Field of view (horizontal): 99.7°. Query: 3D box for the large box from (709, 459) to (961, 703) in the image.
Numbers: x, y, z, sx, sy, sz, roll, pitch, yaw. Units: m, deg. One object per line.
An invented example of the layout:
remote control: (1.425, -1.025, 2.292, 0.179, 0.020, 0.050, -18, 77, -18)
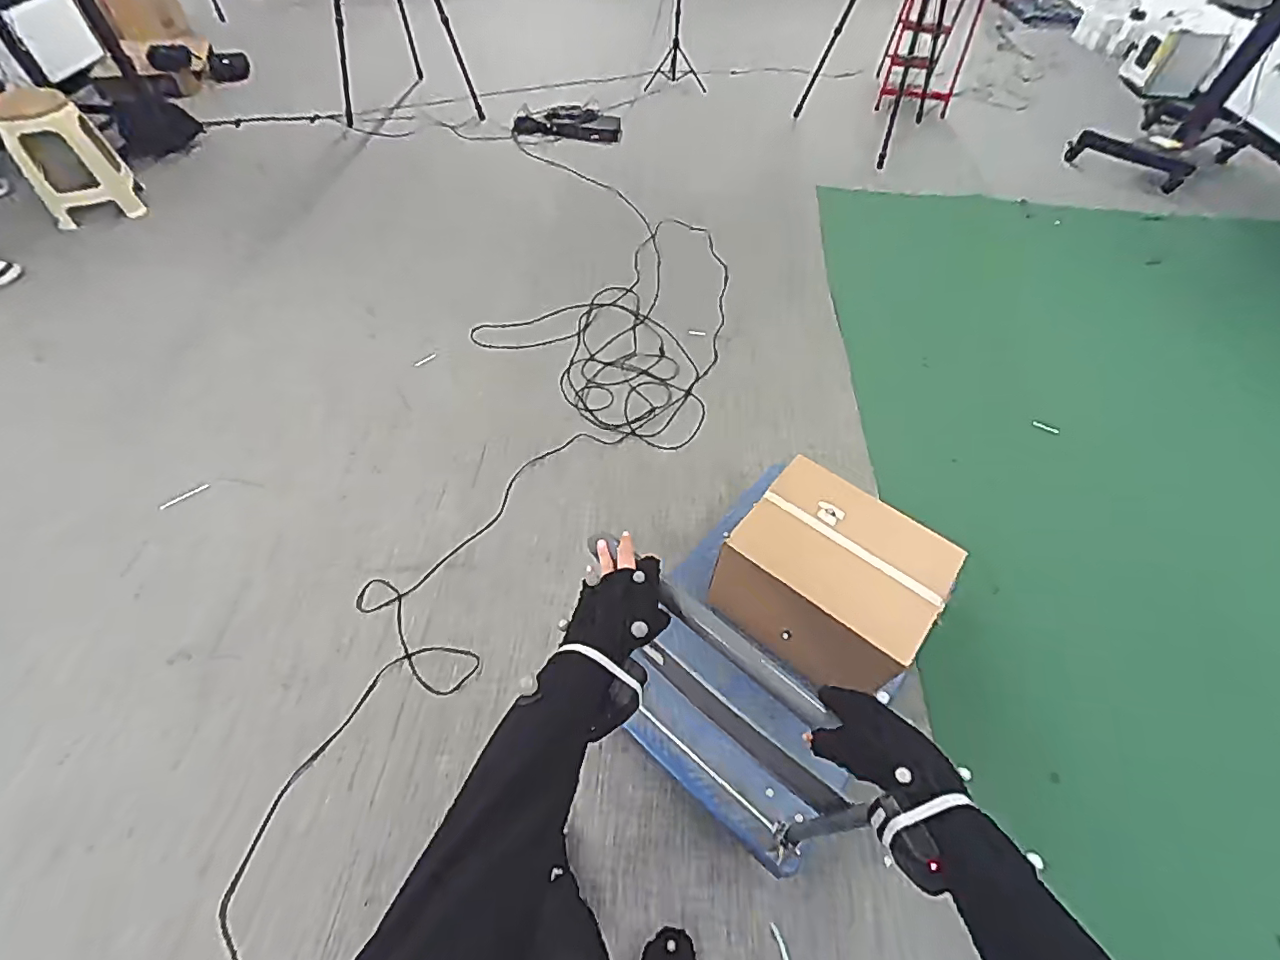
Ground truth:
large box: (0.422, 0.231, 1.245, 0.408, 0.320, 0.320, 34, 59, 22)
